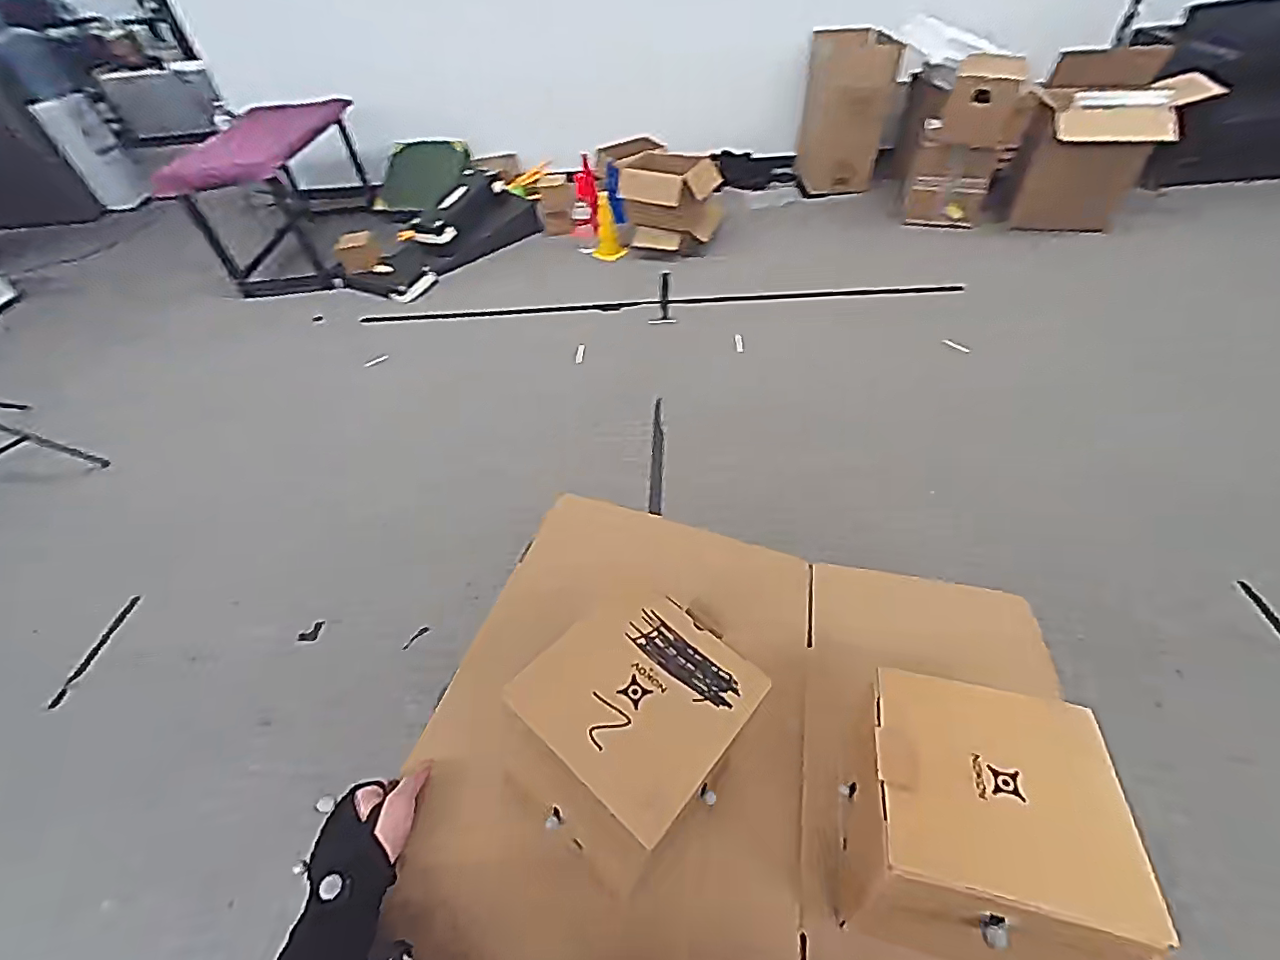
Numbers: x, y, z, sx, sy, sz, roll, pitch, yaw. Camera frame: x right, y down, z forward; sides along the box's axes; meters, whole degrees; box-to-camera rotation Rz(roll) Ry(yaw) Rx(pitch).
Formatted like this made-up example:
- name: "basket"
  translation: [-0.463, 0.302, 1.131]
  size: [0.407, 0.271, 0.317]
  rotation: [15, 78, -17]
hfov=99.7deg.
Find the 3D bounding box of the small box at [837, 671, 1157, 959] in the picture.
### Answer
- name: "small box"
  translation: [0.283, 0.304, 0.483]
  size: [0.179, 0.176, 0.168]
  rotation: [7, 40, 13]
